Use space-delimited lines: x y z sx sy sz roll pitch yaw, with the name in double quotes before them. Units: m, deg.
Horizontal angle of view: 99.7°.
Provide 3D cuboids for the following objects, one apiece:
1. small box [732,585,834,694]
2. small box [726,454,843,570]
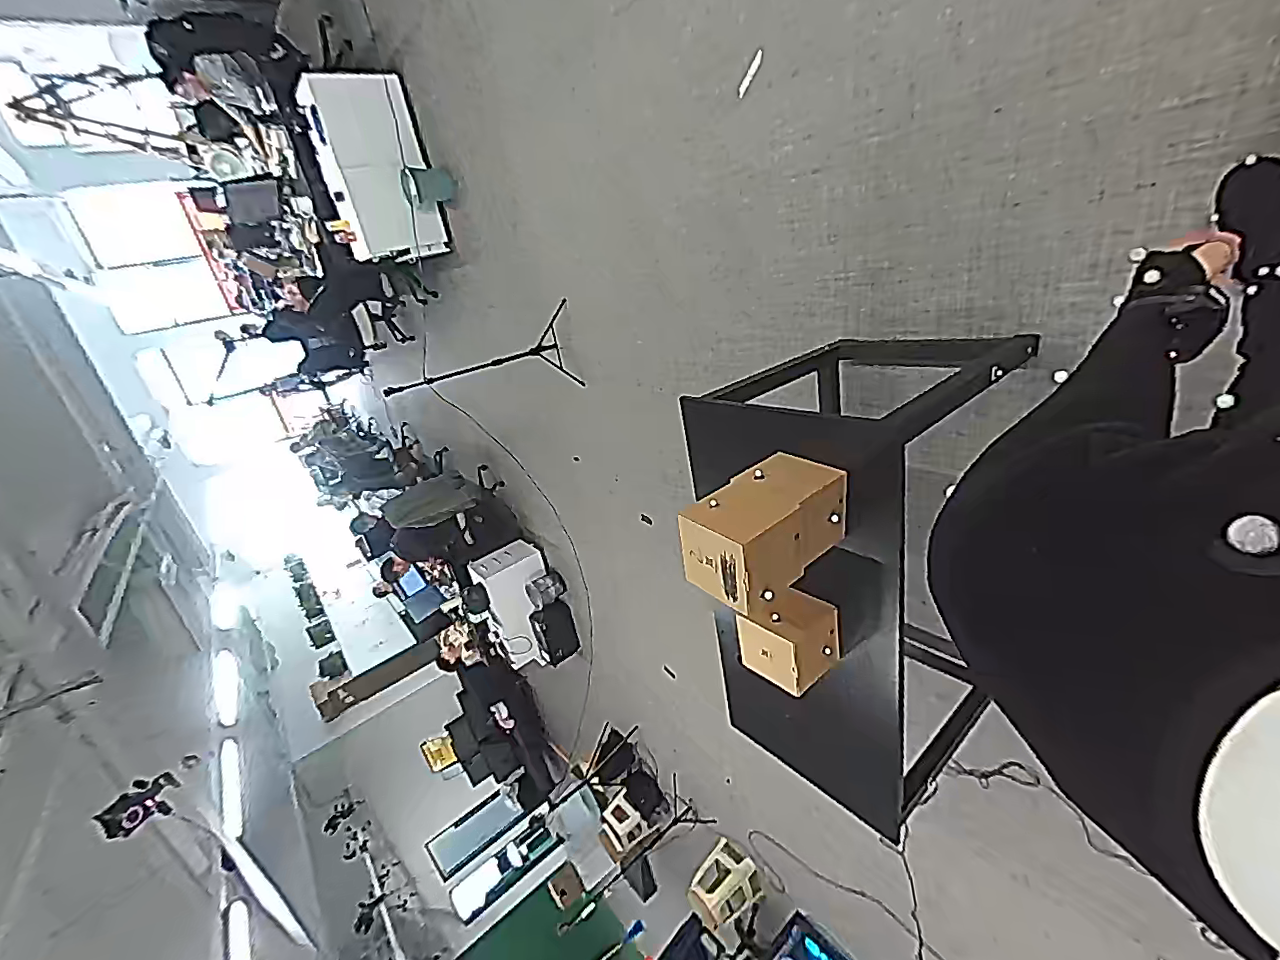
"small box" 0.355 0.383 1.339 0.179 0.176 0.168 18 127 50
"small box" 0.309 0.059 1.163 0.179 0.176 0.168 25 133 47
